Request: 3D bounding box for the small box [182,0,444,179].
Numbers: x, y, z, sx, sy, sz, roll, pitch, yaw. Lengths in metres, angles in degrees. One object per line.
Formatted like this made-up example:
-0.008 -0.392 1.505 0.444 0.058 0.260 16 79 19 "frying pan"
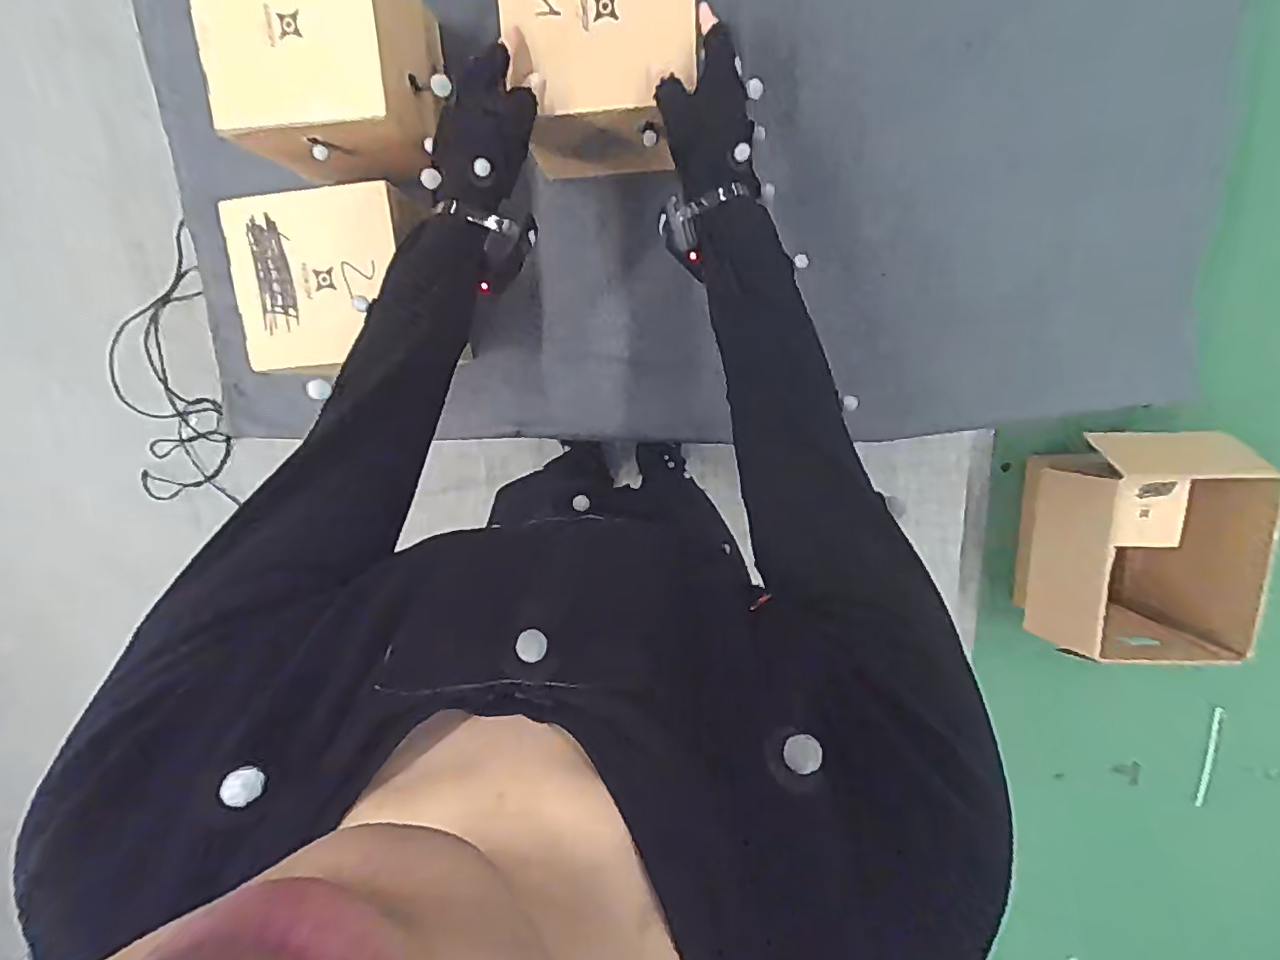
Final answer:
-0.322 -0.434 0.566 0.179 0.176 0.168 -2 102 5 "small box"
